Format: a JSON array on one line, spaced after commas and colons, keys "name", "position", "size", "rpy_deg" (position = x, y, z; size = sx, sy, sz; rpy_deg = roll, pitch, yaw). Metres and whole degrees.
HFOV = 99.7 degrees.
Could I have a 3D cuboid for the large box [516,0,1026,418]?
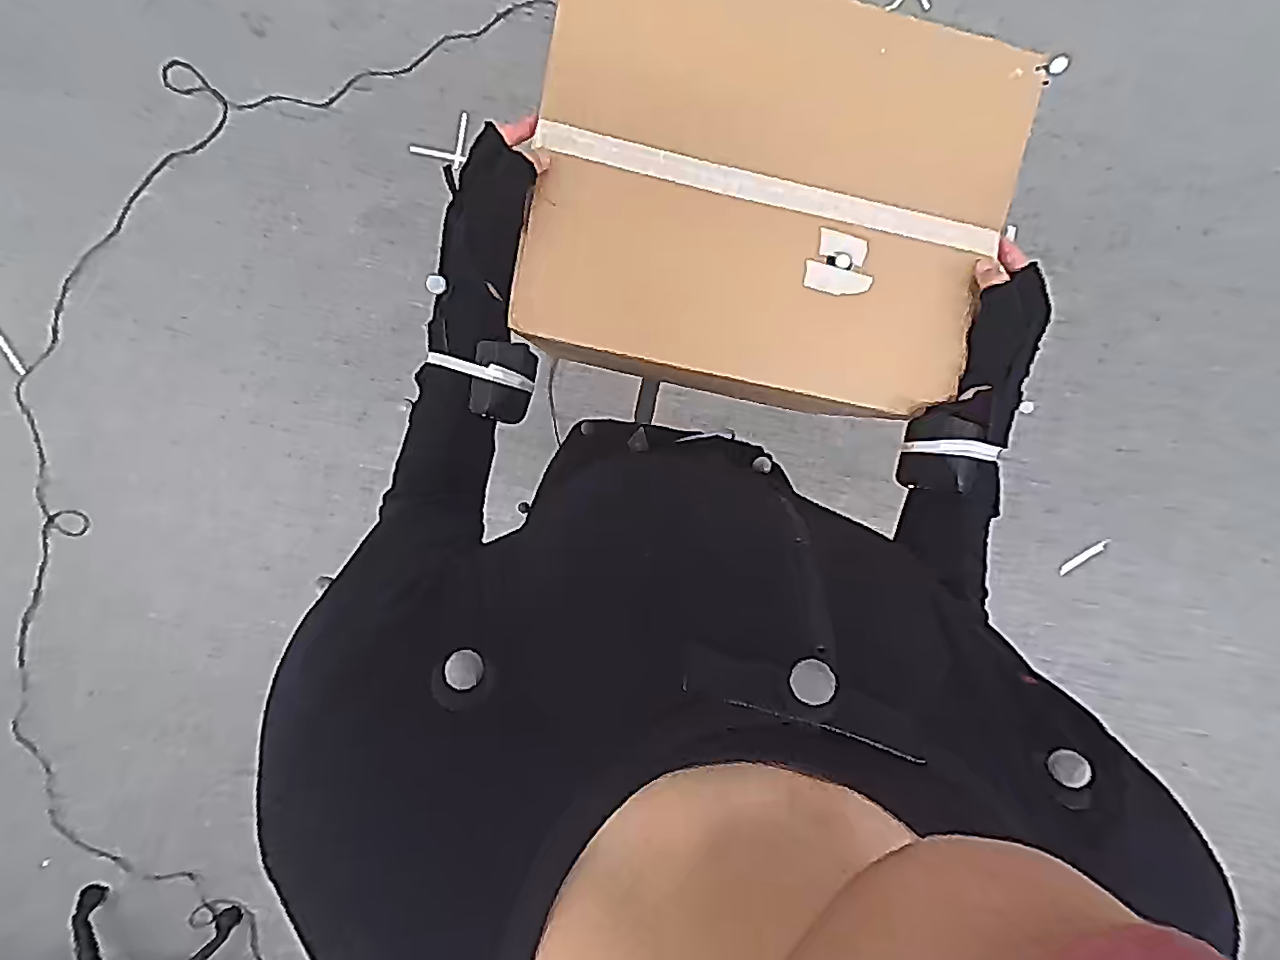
[{"name": "large box", "position": [0.100, -0.263, 0.614], "size": [0.408, 0.320, 0.320], "rpy_deg": [11, 99, -6]}]
